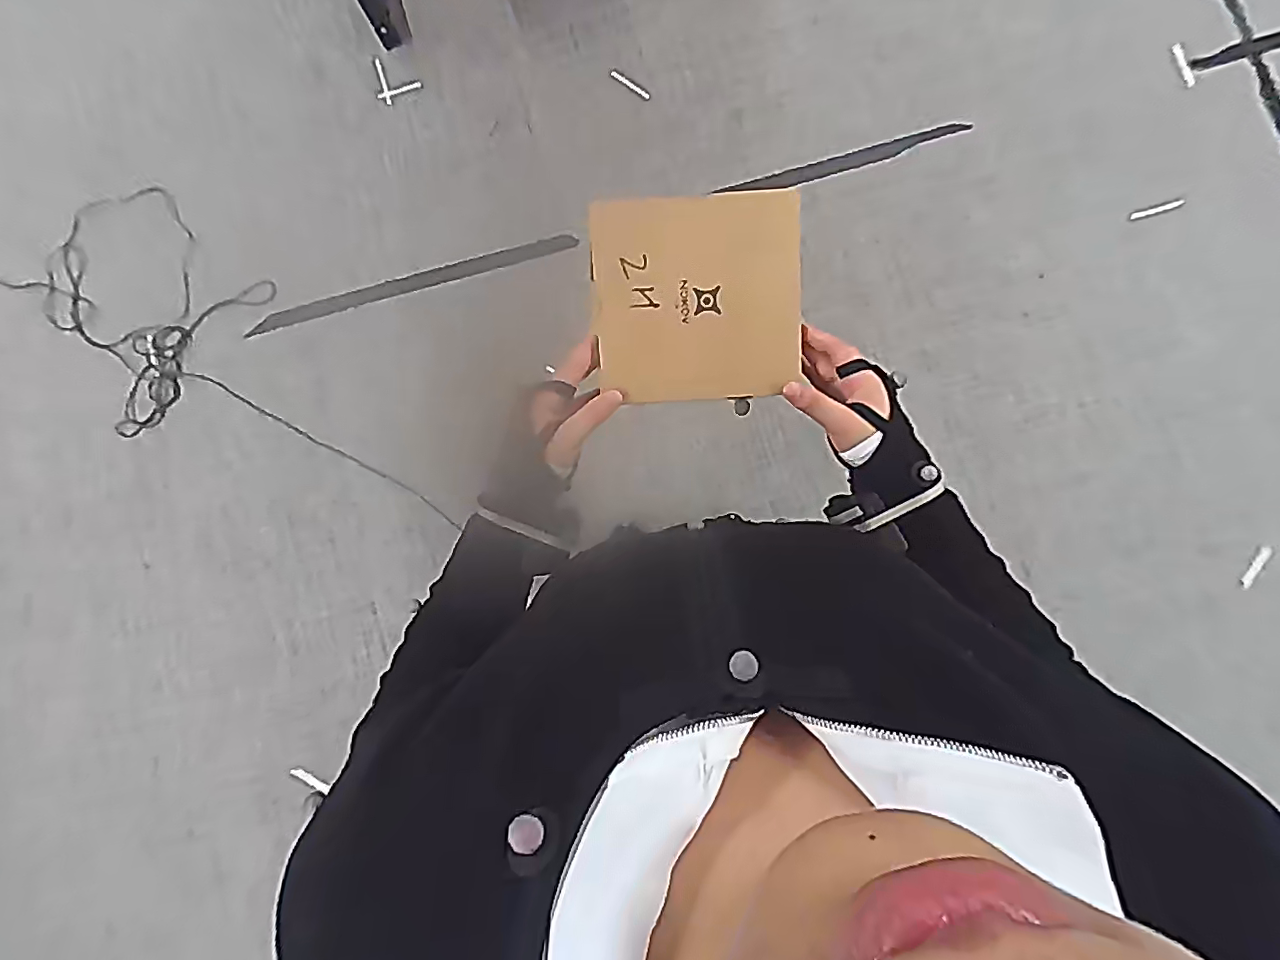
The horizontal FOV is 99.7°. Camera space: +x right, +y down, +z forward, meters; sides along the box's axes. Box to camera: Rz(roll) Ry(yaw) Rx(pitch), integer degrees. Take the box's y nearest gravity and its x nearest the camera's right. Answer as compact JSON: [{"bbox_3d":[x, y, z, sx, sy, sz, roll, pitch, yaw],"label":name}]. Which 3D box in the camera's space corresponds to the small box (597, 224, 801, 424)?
[{"bbox_3d":[0.054,-0.147,0.550,0.179,0.176,0.168,-3,99,2],"label":"small box"}]
